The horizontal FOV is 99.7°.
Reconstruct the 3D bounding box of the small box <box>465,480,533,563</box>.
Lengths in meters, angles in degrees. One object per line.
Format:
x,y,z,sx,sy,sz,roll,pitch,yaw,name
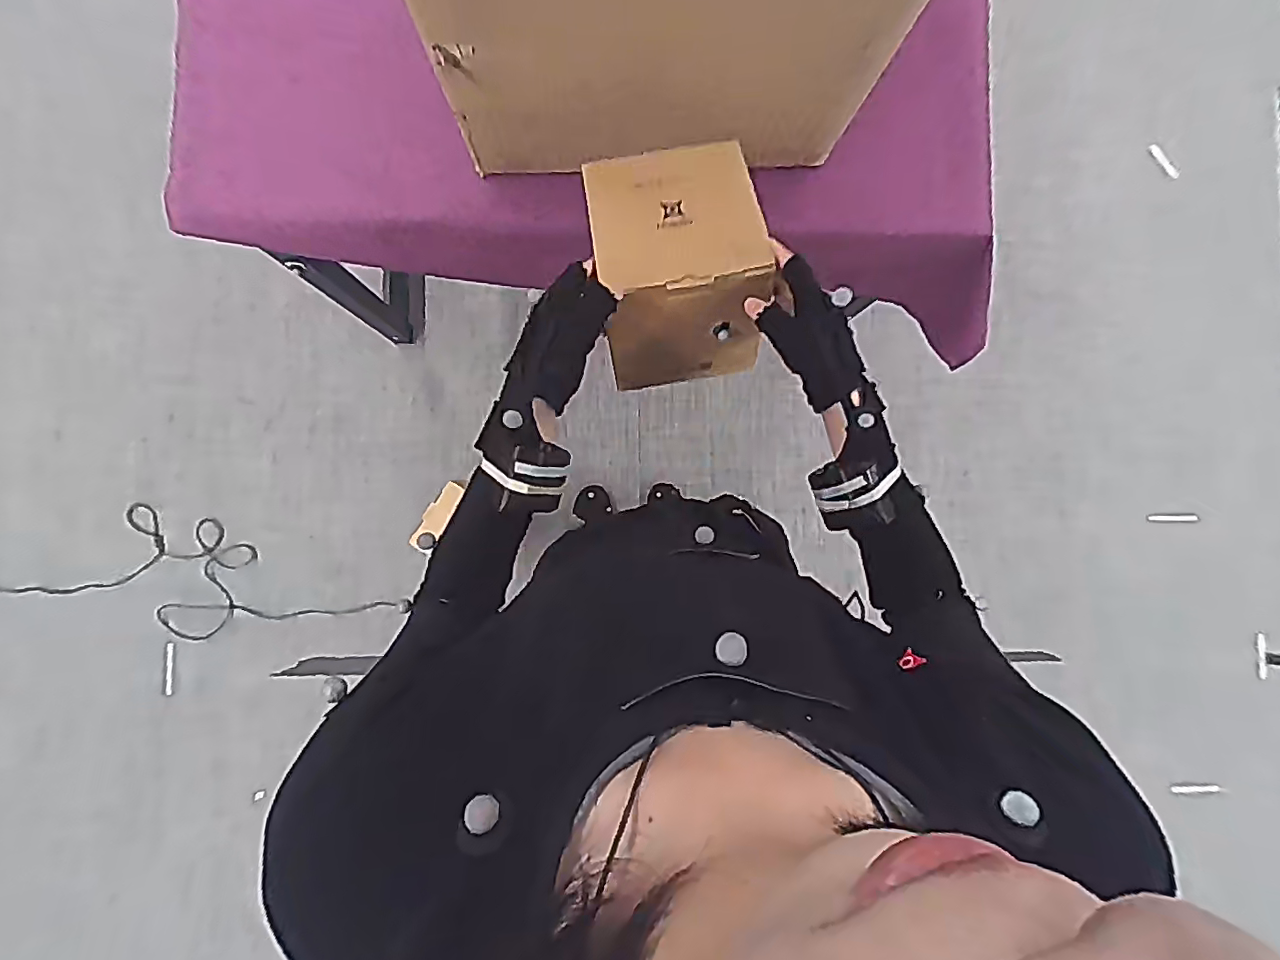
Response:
-0.402,0.115,1.412,0.179,0.176,0.168,30,87,-3,small box

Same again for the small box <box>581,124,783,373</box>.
0.039,-0.231,0.577,0.168,0.176,0.179,-10,67,-1,small box

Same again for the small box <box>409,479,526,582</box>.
-0.389,0.114,1.248,0.179,0.176,0.168,32,87,-2,small box
